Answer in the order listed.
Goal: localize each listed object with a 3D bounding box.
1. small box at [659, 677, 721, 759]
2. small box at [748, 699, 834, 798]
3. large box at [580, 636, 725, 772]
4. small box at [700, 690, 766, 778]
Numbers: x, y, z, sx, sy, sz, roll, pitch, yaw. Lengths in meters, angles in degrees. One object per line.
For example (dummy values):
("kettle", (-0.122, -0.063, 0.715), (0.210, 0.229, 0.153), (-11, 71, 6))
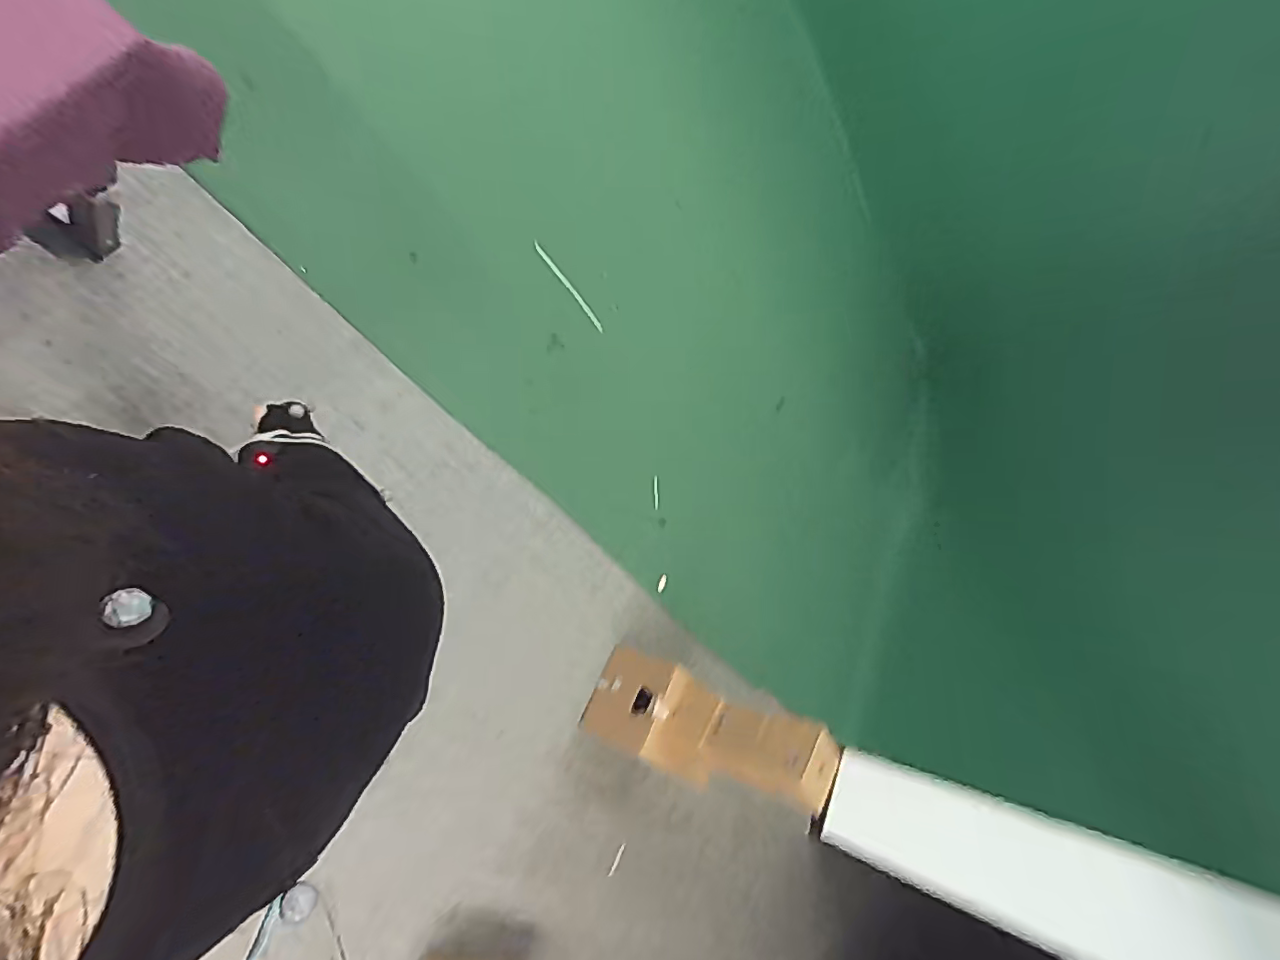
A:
("small box", (0.198, 0.788, 1.808), (0.168, 0.176, 0.179), (-53, 124, -31))
("small box", (0.437, 0.779, 1.584), (0.179, 0.176, 0.168), (-49, 122, -34))
("large box", (0.055, 0.822, 2.007), (0.408, 0.320, 0.320), (46, 60, -35))
("small box", (0.320, 0.789, 1.699), (0.168, 0.176, 0.179), (-50, 121, -34))
